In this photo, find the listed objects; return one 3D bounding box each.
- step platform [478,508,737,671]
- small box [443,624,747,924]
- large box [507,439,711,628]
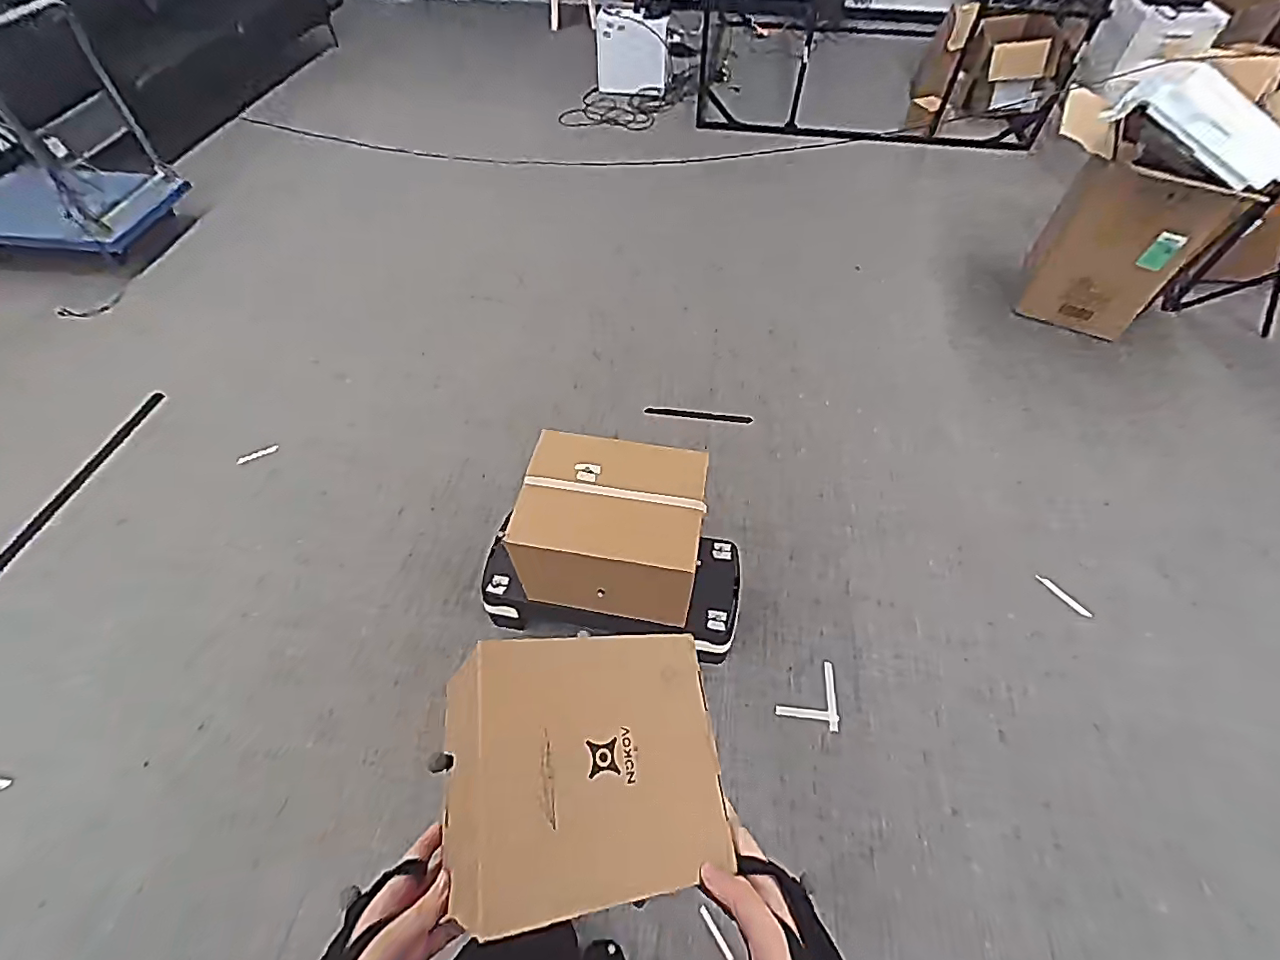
[{"bbox_3d":[-0.083,0.292,1.476,0.684,0.204,0.286,12,55,10],"label":"step platform"},{"bbox_3d":[-0.047,0.219,0.425,0.179,0.176,0.168,7,56,-24],"label":"small box"},{"bbox_3d":[-0.050,0.133,1.296,0.408,0.320,0.320,8,54,7],"label":"large box"}]
